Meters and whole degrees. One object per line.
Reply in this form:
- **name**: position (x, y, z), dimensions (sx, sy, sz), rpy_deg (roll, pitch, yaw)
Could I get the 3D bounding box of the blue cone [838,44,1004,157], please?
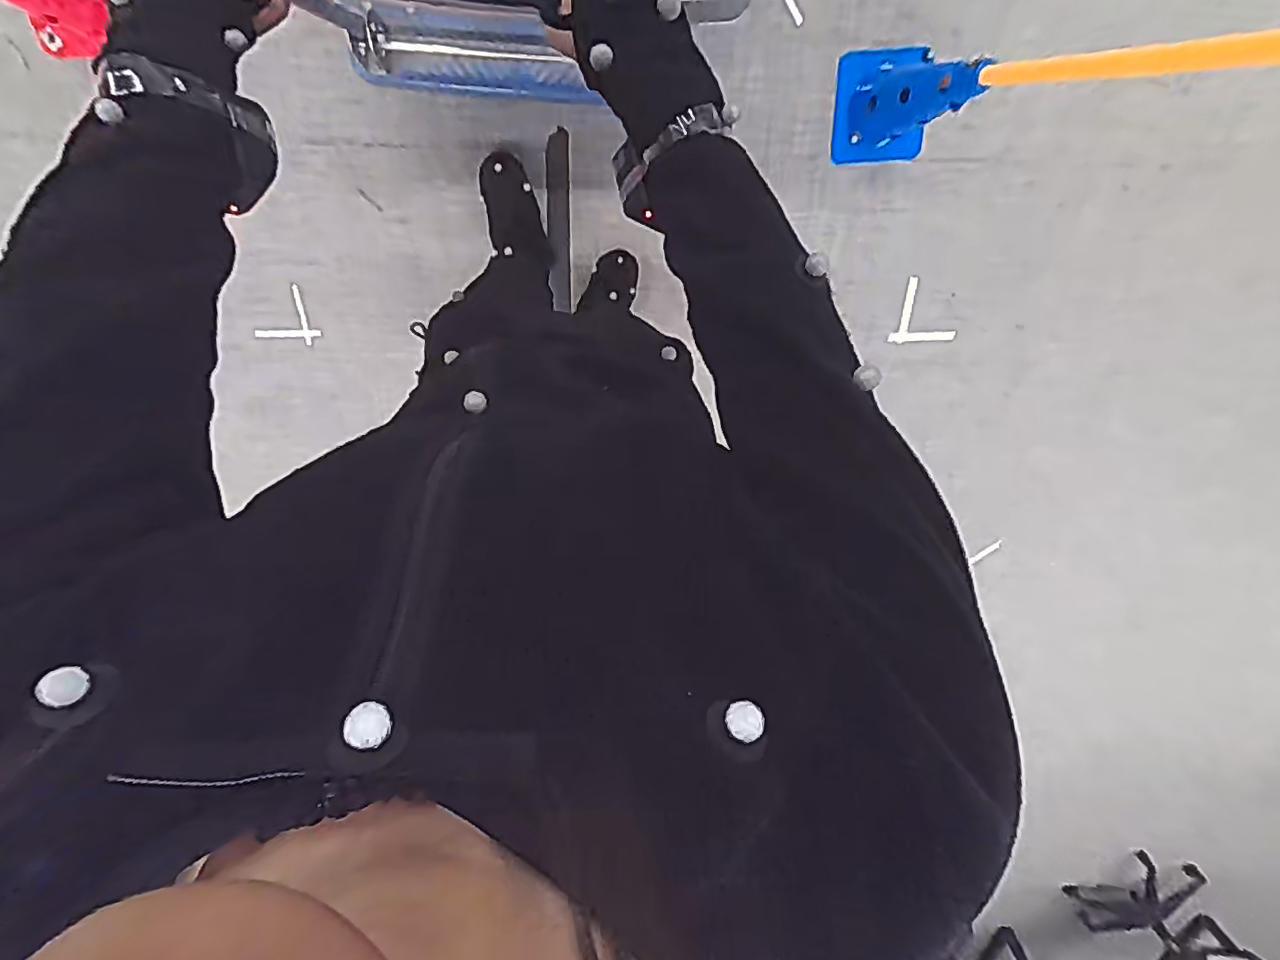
- **blue cone**: position (0.525, -0.716, 0.990), dimensions (0.193, 0.380, 0.192), rpy_deg (-3, 117, -3)
